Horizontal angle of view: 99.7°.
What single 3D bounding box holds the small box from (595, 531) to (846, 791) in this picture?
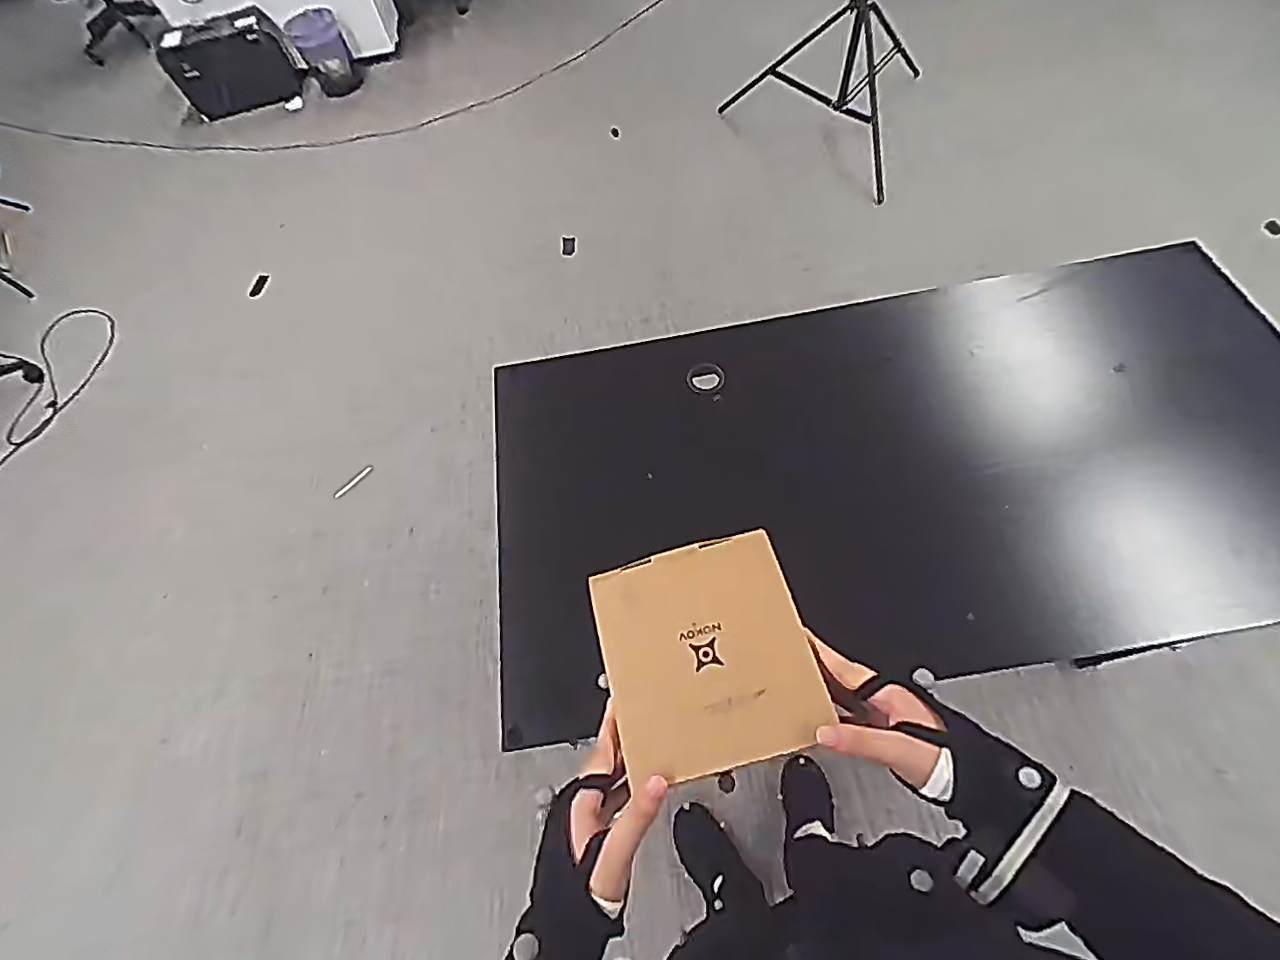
[{"bbox_3d":[0.066,0.175,0.508,0.168,0.176,0.179,-16,61,1],"label":"small box"}]
